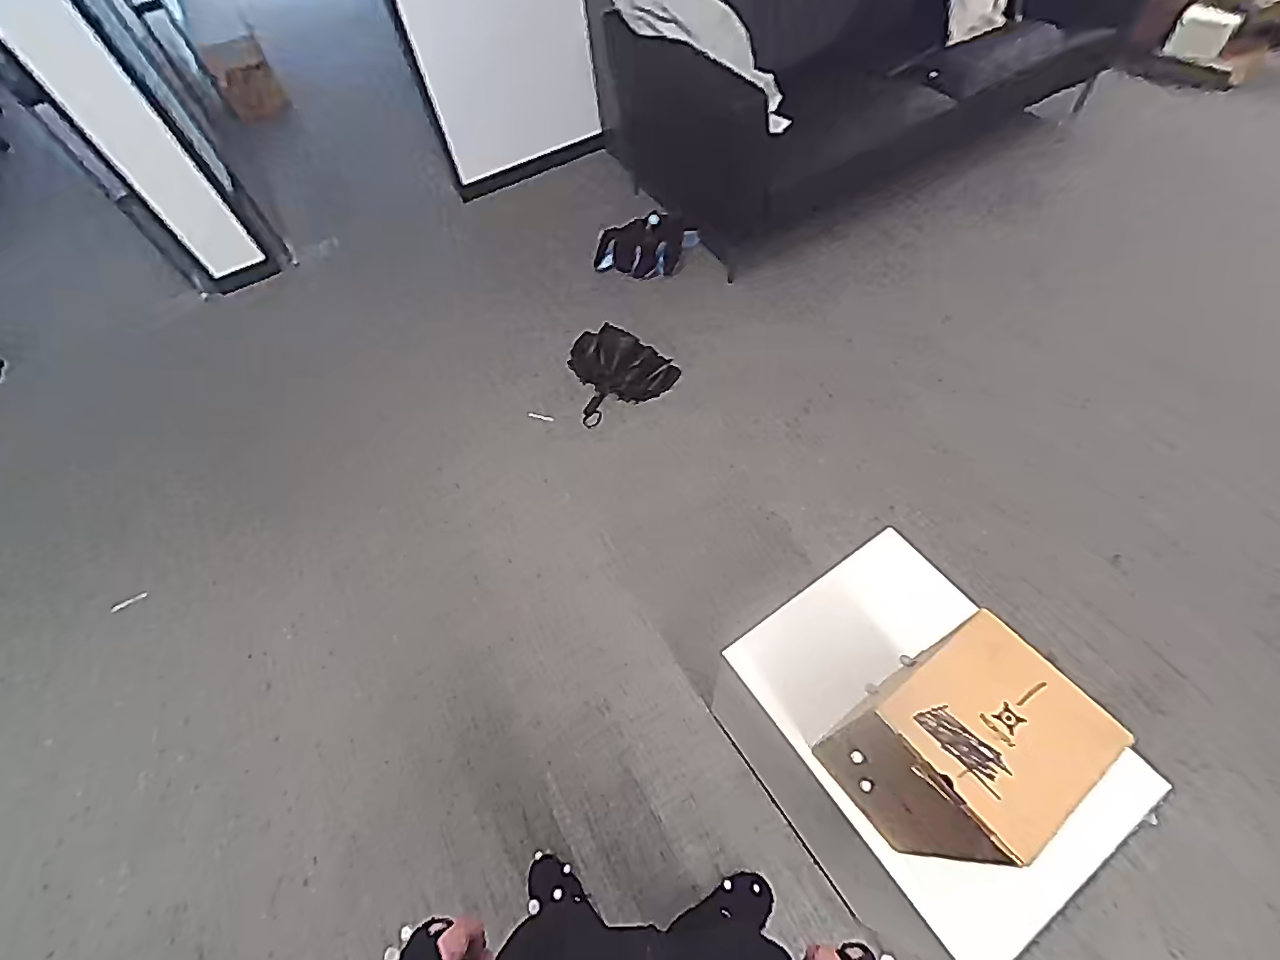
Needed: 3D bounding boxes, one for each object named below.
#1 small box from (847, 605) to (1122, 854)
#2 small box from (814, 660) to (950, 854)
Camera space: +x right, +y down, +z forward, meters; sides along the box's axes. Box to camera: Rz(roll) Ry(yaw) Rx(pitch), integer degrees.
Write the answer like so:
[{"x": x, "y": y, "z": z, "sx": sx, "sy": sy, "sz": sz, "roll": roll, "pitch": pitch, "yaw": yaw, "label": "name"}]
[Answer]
[{"x": 0.355, "y": 0.277, "z": 0.600, "sx": 0.179, "sy": 0.176, "sz": 0.168, "roll": -33, "pitch": 61, "yaw": -18, "label": "small box"}, {"x": 0.365, "y": 0.368, "z": 0.737, "sx": 0.179, "sy": 0.176, "sz": 0.168, "roll": -34, "pitch": 60, "yaw": -18, "label": "small box"}]
